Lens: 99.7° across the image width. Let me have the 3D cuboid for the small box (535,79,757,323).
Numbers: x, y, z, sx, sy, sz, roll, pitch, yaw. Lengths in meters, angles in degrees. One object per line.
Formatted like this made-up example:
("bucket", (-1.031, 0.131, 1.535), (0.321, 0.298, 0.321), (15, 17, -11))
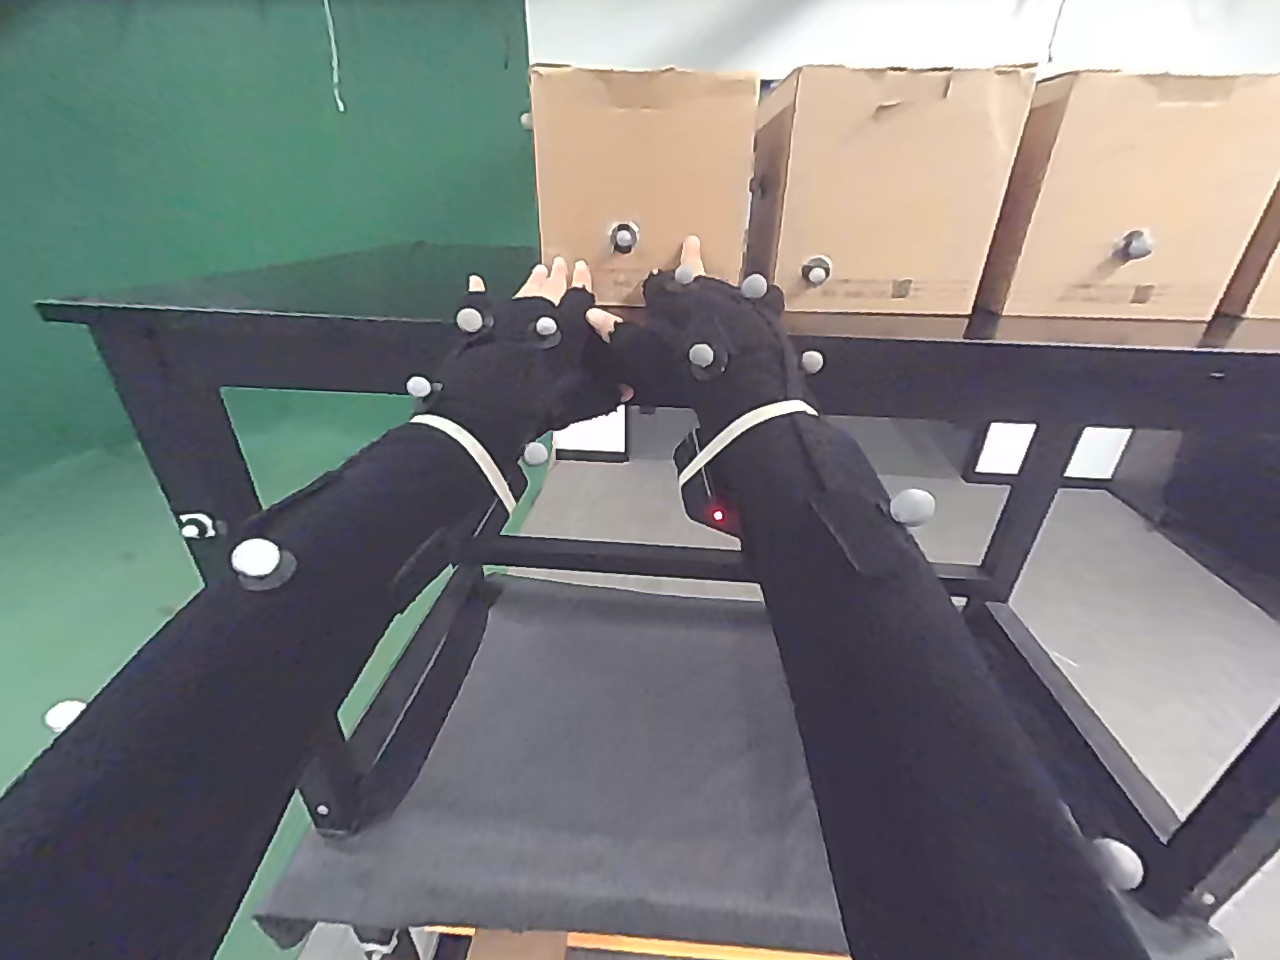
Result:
("small box", (0.003, -0.251, 0.502), (0.168, 0.176, 0.179), (1, 29, 0))
